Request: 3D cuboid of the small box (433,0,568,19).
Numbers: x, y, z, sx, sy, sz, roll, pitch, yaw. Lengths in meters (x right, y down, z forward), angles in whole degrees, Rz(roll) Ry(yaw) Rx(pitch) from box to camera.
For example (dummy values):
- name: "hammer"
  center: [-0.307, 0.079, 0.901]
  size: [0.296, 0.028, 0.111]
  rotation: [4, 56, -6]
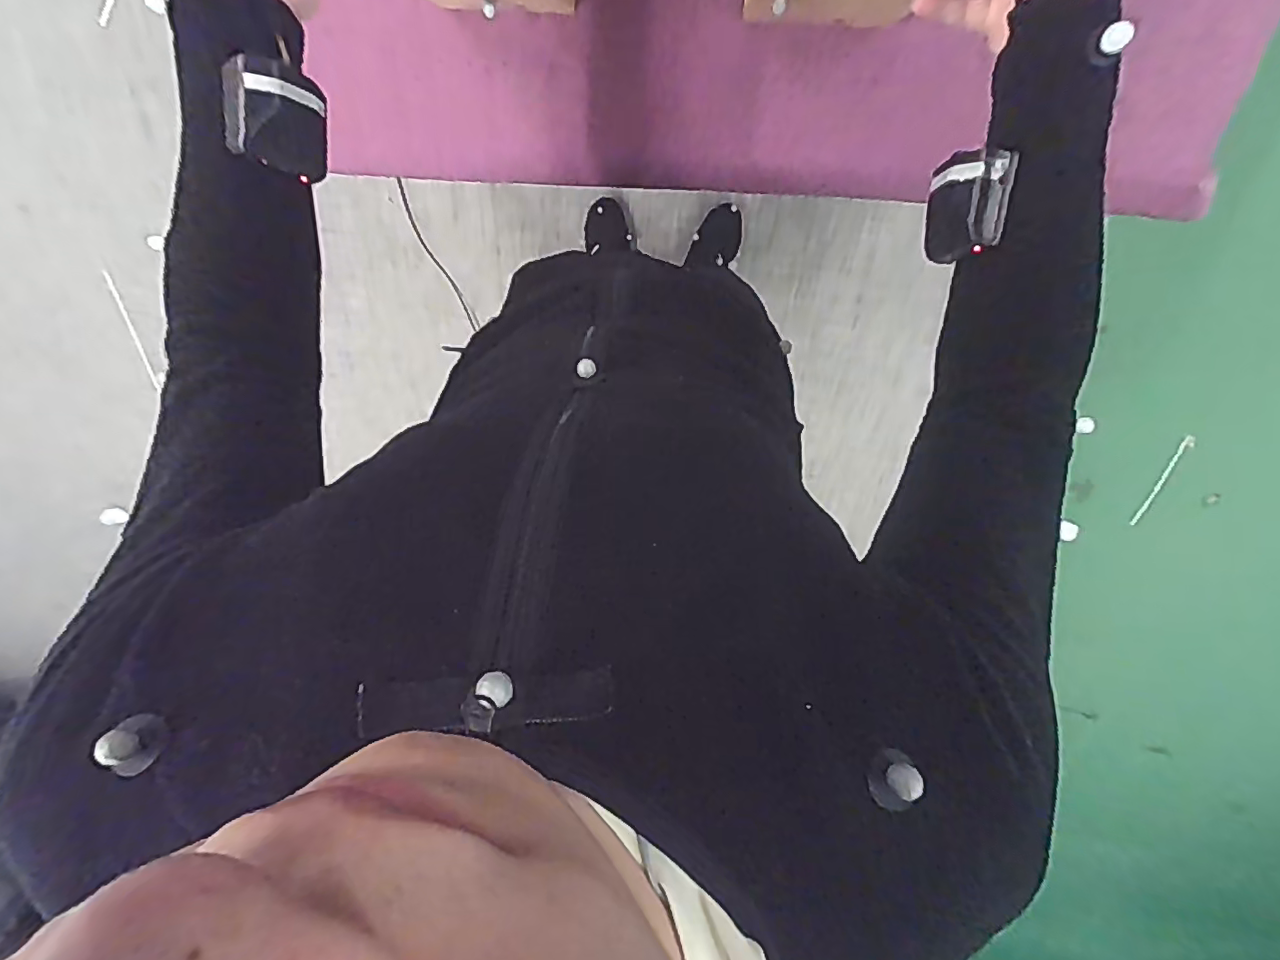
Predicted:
- name: "small box"
  center: [-0.163, -0.576, 0.514]
  size: [0.168, 0.176, 0.179]
  rotation: [5, 120, 3]
